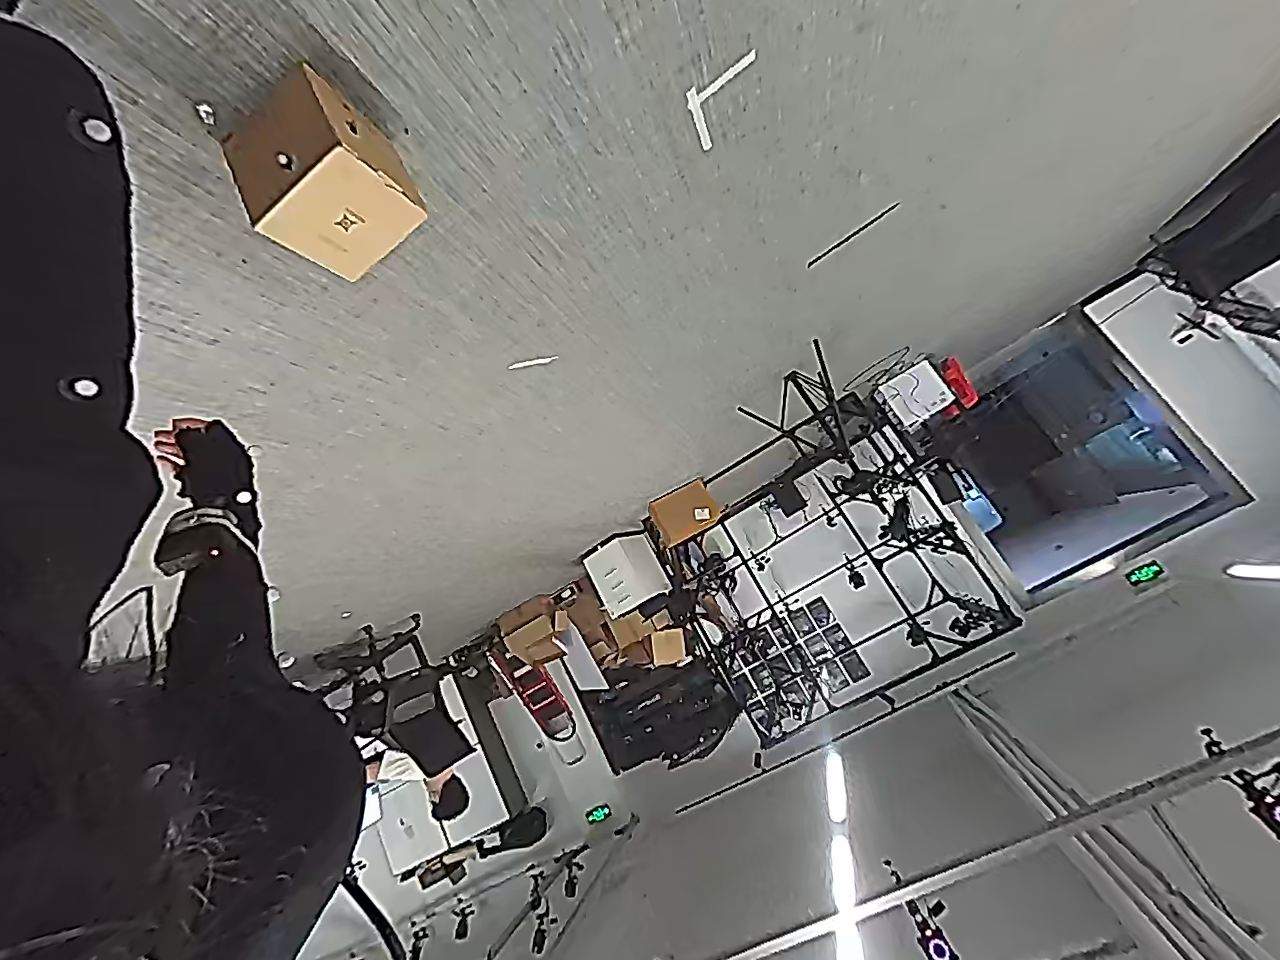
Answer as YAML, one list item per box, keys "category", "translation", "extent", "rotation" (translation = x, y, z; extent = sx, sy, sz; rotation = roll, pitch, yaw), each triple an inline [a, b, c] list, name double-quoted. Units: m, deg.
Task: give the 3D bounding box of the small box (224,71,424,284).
- category: "small box"
  translation: [-0.462, -0.436, 0.793]
  extent: [0.179, 0.176, 0.168]
  rotation: [-32, 164, 13]
